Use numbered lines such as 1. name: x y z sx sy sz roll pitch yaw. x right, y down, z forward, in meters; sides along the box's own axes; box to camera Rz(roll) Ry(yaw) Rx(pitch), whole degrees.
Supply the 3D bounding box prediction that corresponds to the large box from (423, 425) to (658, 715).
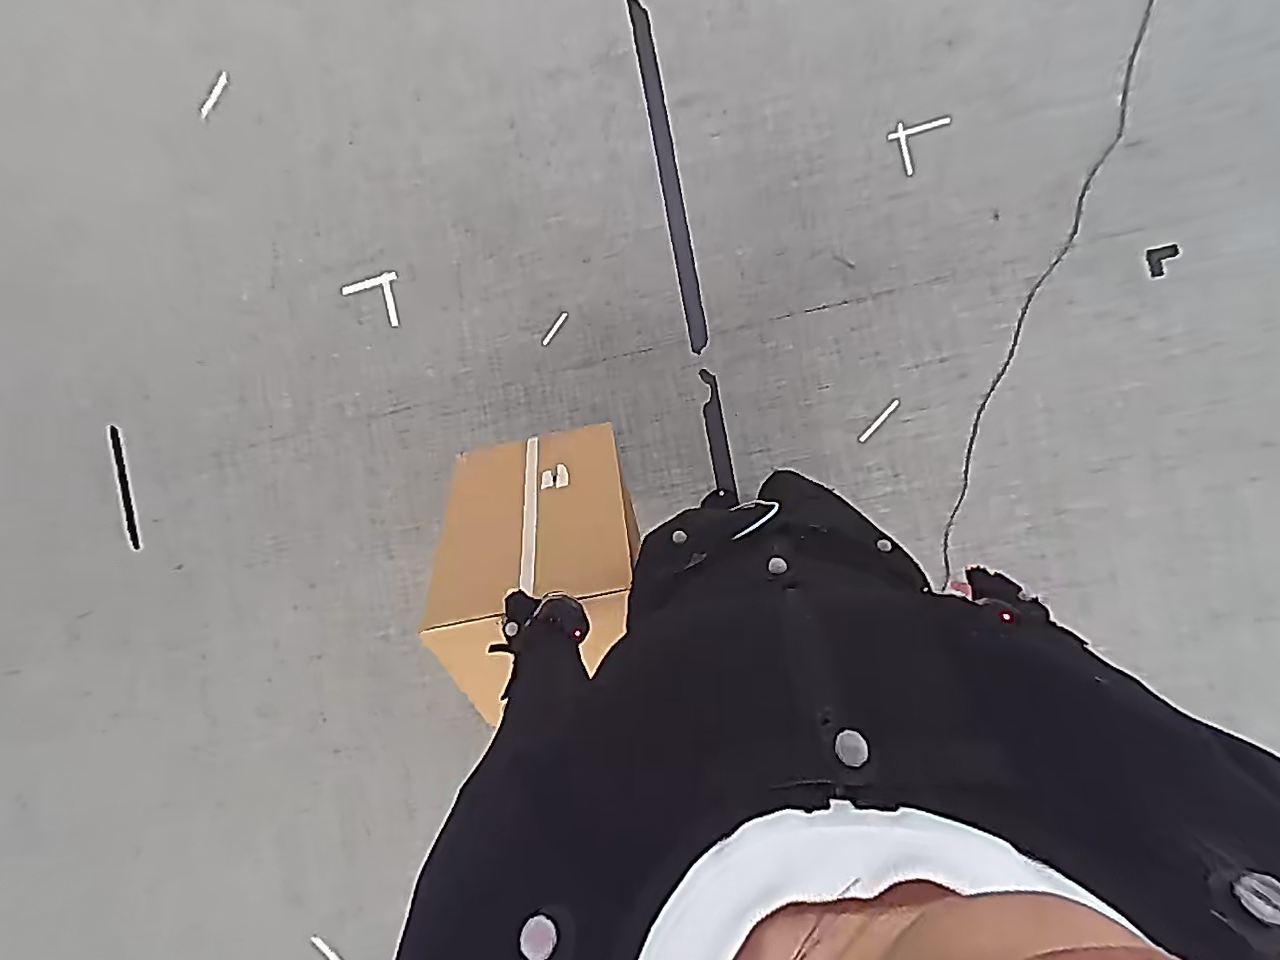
1. large box: -0.163 0.159 1.015 0.320 0.408 0.320 -11 131 1
